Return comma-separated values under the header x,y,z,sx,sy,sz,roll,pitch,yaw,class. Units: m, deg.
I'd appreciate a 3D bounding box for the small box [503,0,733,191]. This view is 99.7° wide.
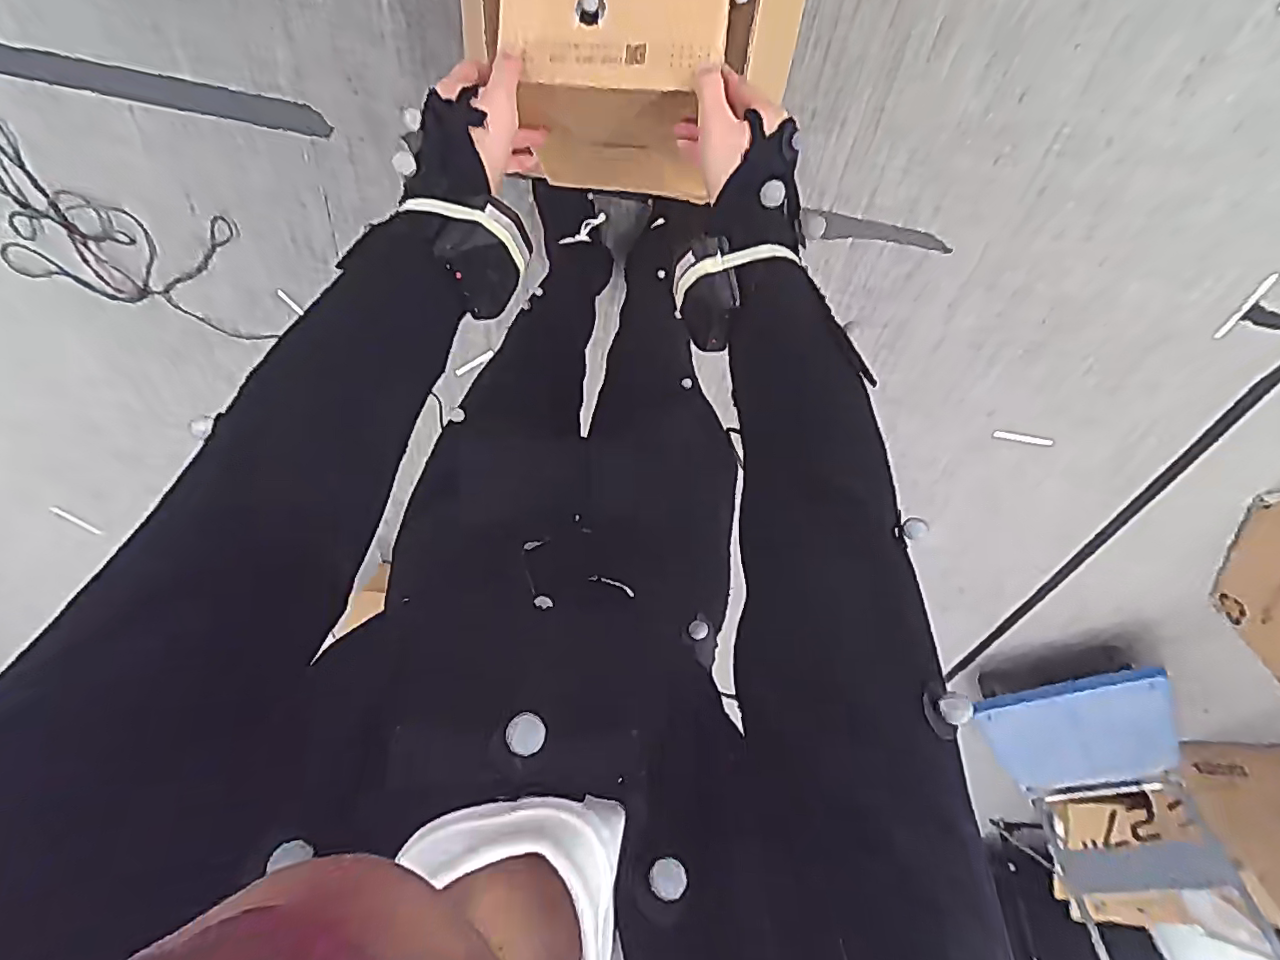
x,y,z,sx,sy,sz,roll,pitch,yaw,class
-0.010,-0.364,0.462,0.168,0.179,0.176,6,97,5,small box
